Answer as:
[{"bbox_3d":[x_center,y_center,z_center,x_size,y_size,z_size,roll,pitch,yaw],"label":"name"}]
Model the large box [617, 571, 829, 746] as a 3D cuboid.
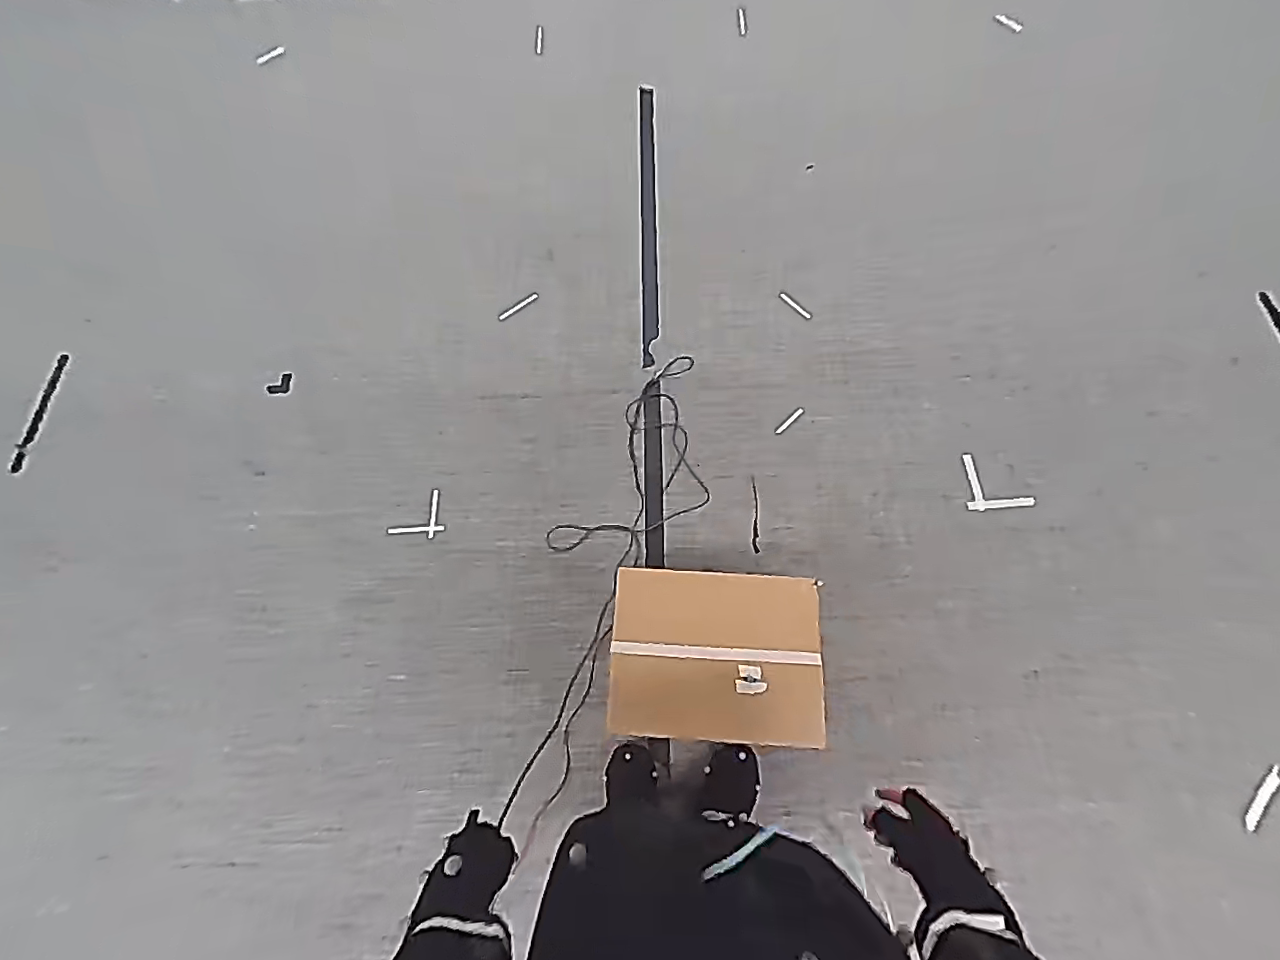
[{"bbox_3d":[0.163,0.392,1.197,0.408,0.320,0.320,3,71,3],"label":"large box"}]
